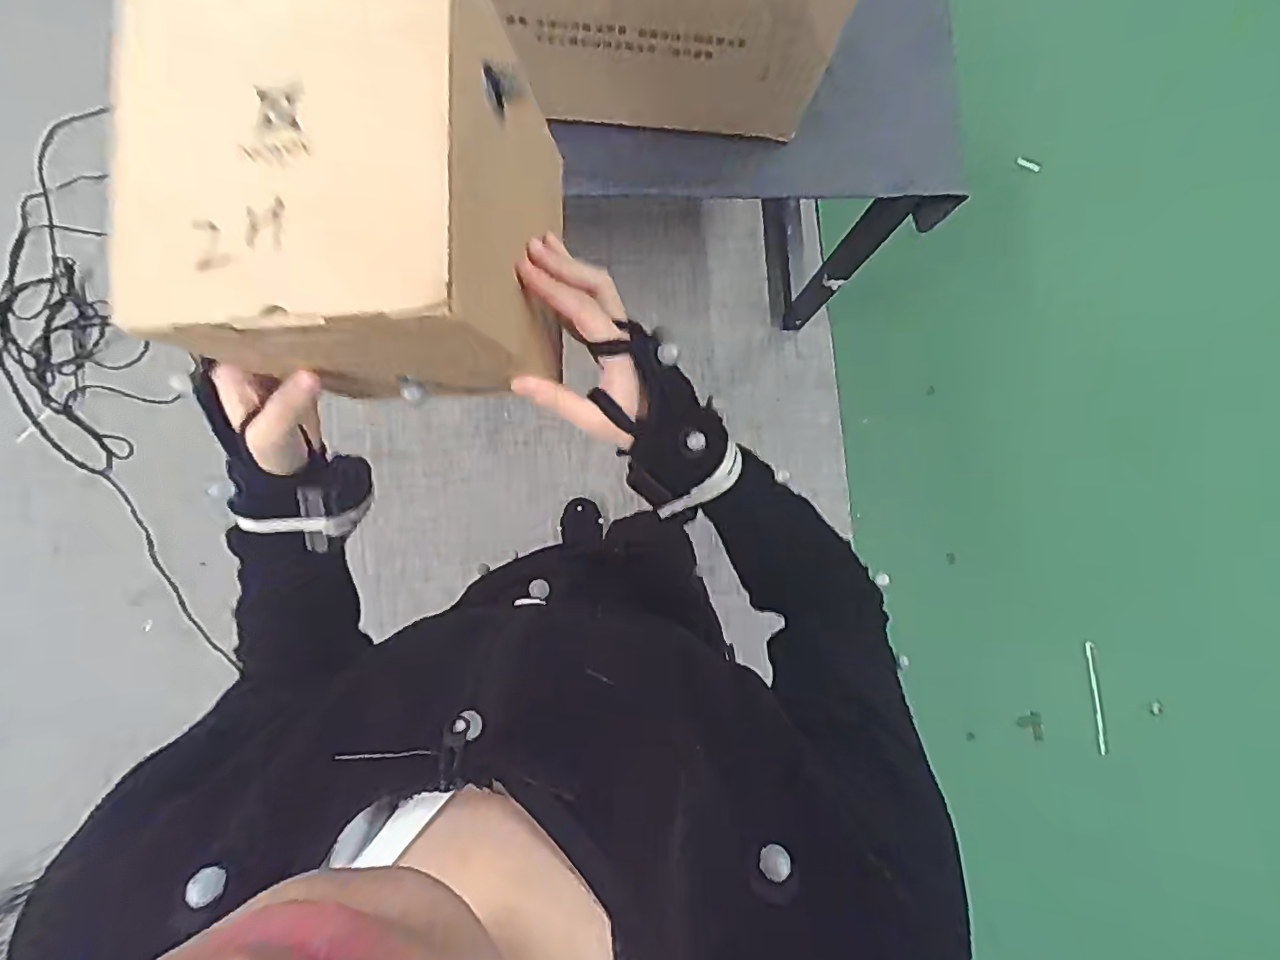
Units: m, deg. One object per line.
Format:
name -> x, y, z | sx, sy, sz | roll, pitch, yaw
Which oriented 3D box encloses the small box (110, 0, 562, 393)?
small box -> -0.147, -0.152, 0.317 | 0.168, 0.176, 0.179 | 0, 90, 7
